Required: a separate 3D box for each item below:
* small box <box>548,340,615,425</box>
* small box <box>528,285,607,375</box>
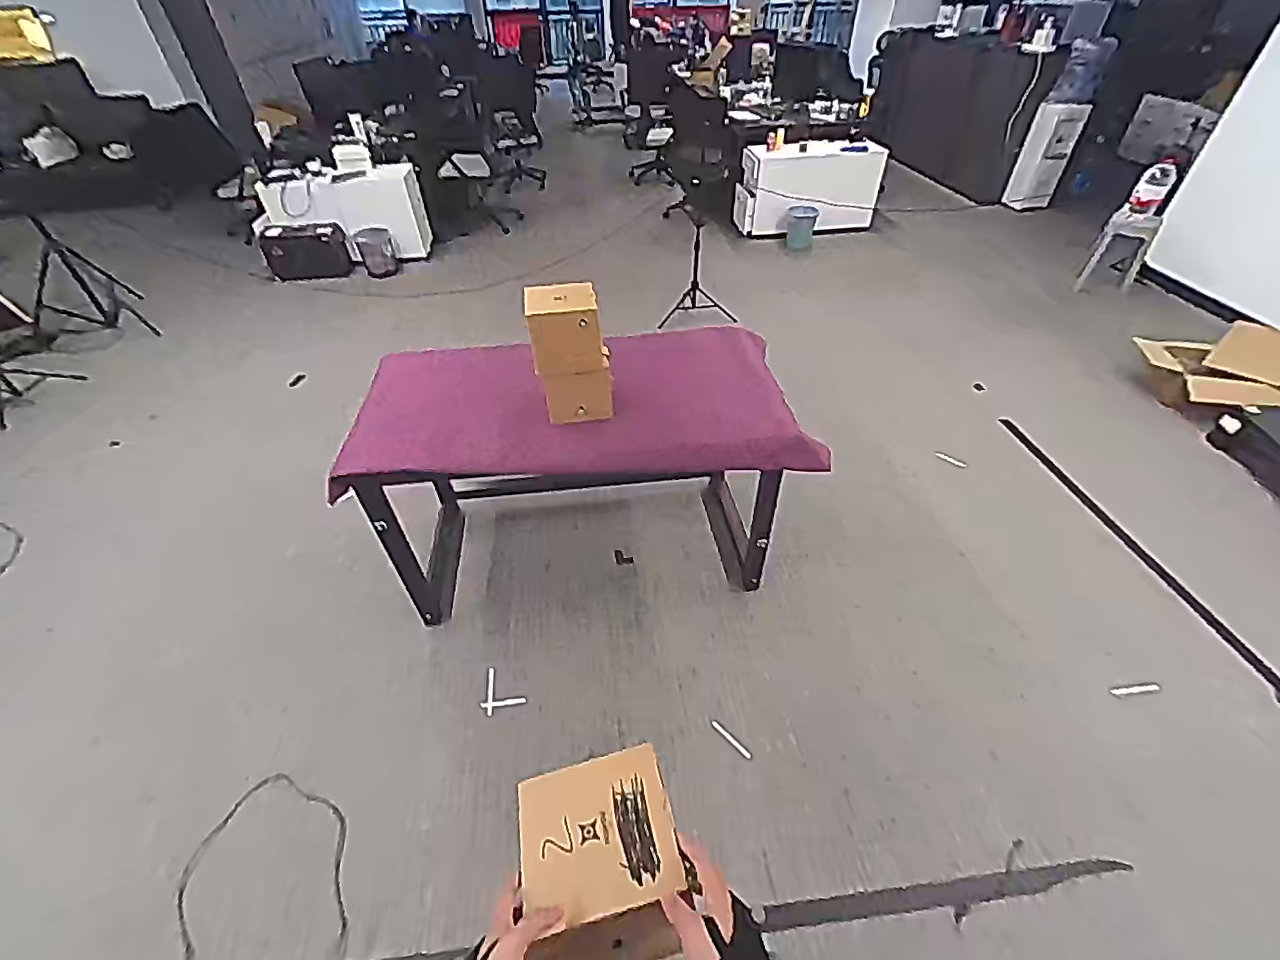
[{"bbox_3d":[-0.164,-0.270,1.506,0.179,0.176,0.168,-7,42,-7],"label":"small box"},{"bbox_3d":[-0.185,-0.381,1.387,0.179,0.176,0.168,-7,42,-6],"label":"small box"}]
